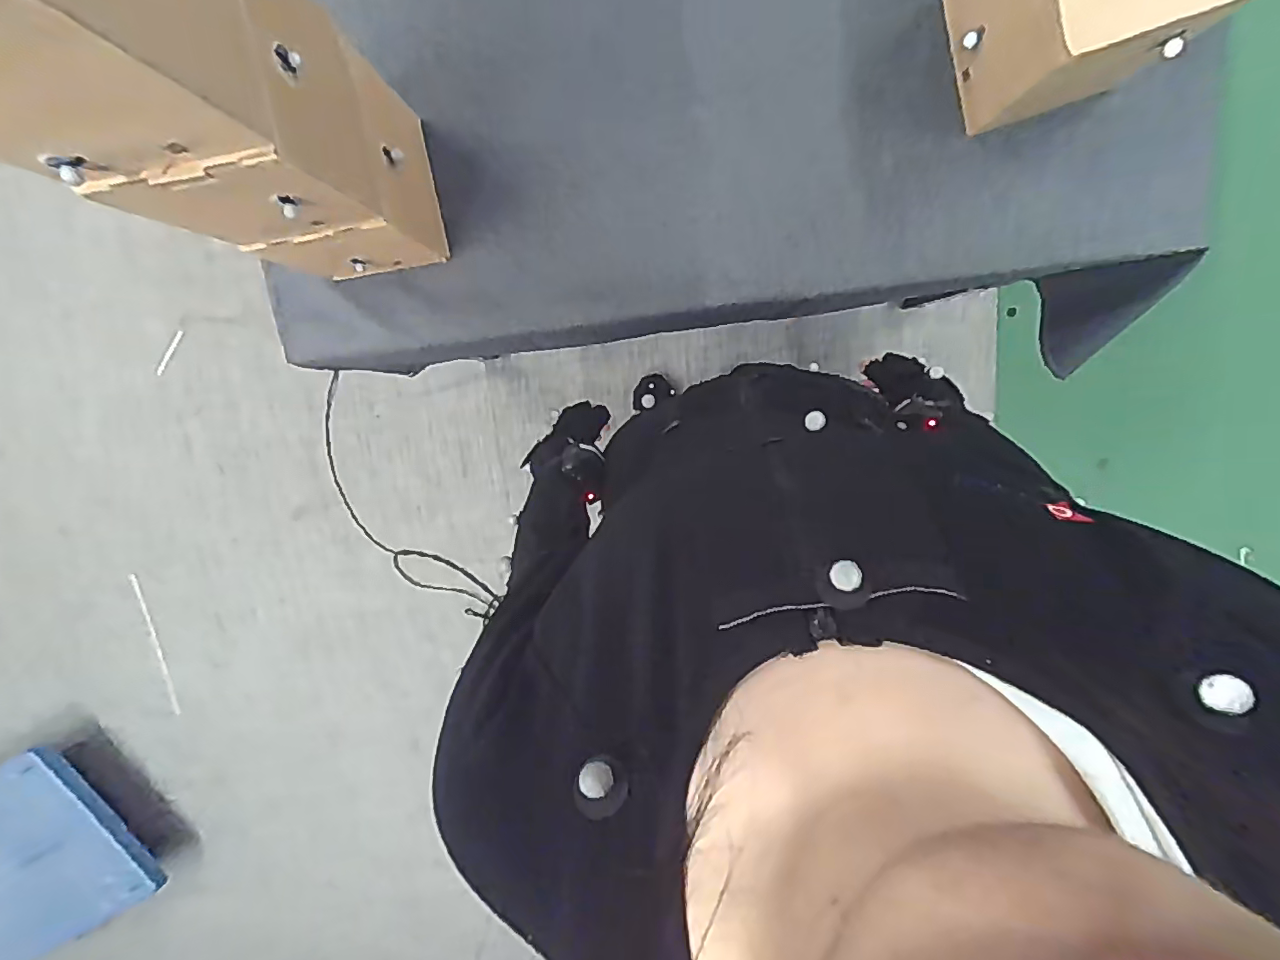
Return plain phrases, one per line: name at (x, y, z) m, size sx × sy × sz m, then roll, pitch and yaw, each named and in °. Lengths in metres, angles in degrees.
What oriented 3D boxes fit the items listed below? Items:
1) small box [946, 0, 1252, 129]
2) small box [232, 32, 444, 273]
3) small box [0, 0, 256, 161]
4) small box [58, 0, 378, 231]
small box at (0.451, -0.500, 0.549) m, size 0.179 × 0.176 × 0.168 m, roll -16°, pitch 100°, yaw 6°
small box at (-0.348, -0.353, 0.619) m, size 0.168 × 0.176 × 0.179 m, roll -8°, pitch 101°, yaw 4°
small box at (-0.360, -0.302, 0.297) m, size 0.168 × 0.176 × 0.179 m, roll -9°, pitch 100°, yaw 3°
small box at (-0.353, -0.326, 0.459) m, size 0.168 × 0.176 × 0.179 m, roll -8°, pitch 101°, yaw 3°
